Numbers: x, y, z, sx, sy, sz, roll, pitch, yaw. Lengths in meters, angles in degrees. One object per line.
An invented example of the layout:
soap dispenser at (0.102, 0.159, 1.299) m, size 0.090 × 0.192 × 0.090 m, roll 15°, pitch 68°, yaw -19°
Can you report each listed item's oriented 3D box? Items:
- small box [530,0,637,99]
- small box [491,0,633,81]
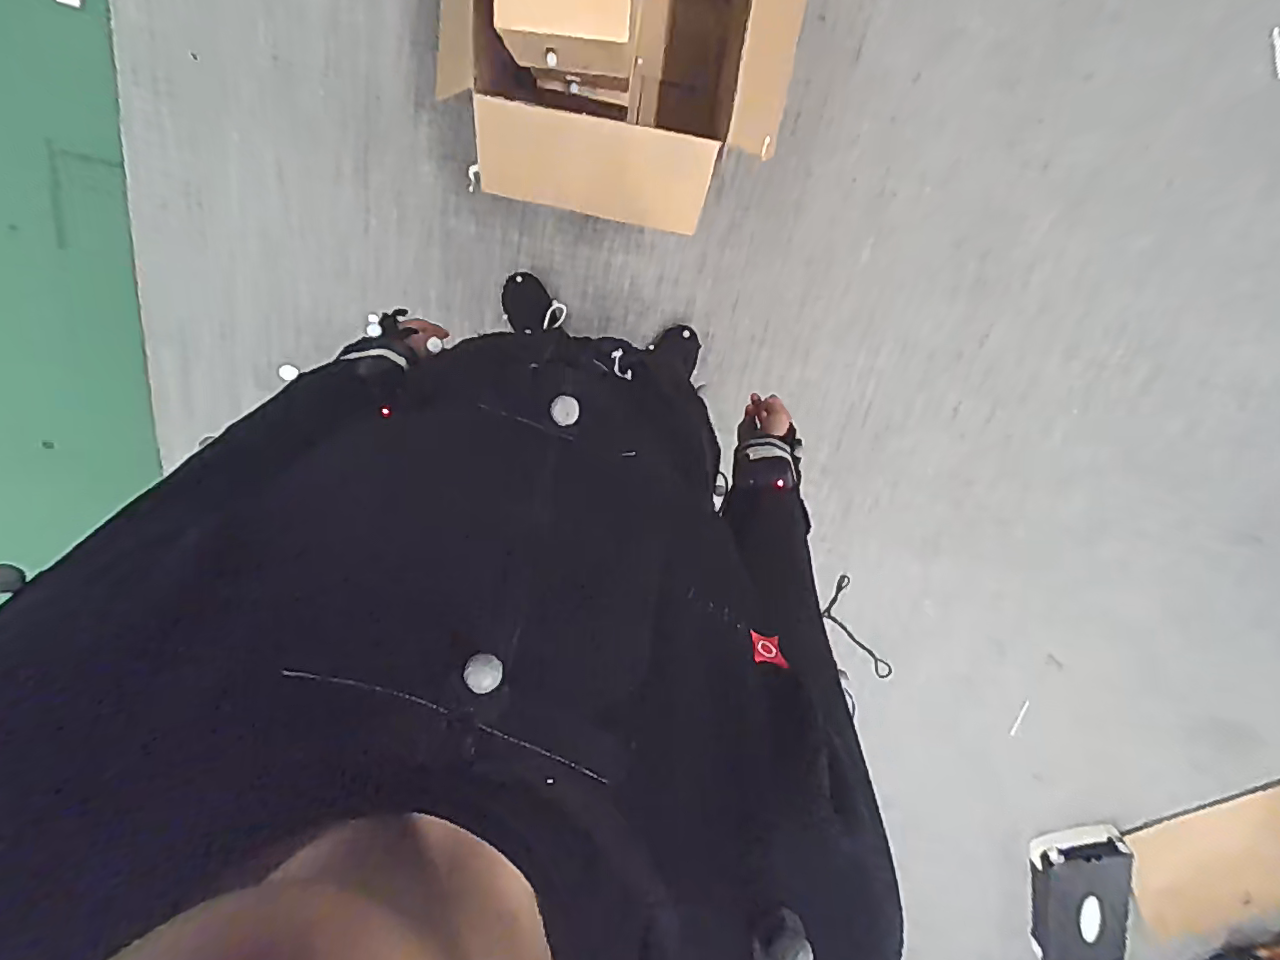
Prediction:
small box at (-0.091, -0.724, 0.837) m, size 0.168 × 0.176 × 0.179 m, roll 6°, pitch 114°, yaw -5°
small box at (-0.092, -0.644, 0.696) m, size 0.168 × 0.176 × 0.179 m, roll 4°, pitch 113°, yaw -3°
